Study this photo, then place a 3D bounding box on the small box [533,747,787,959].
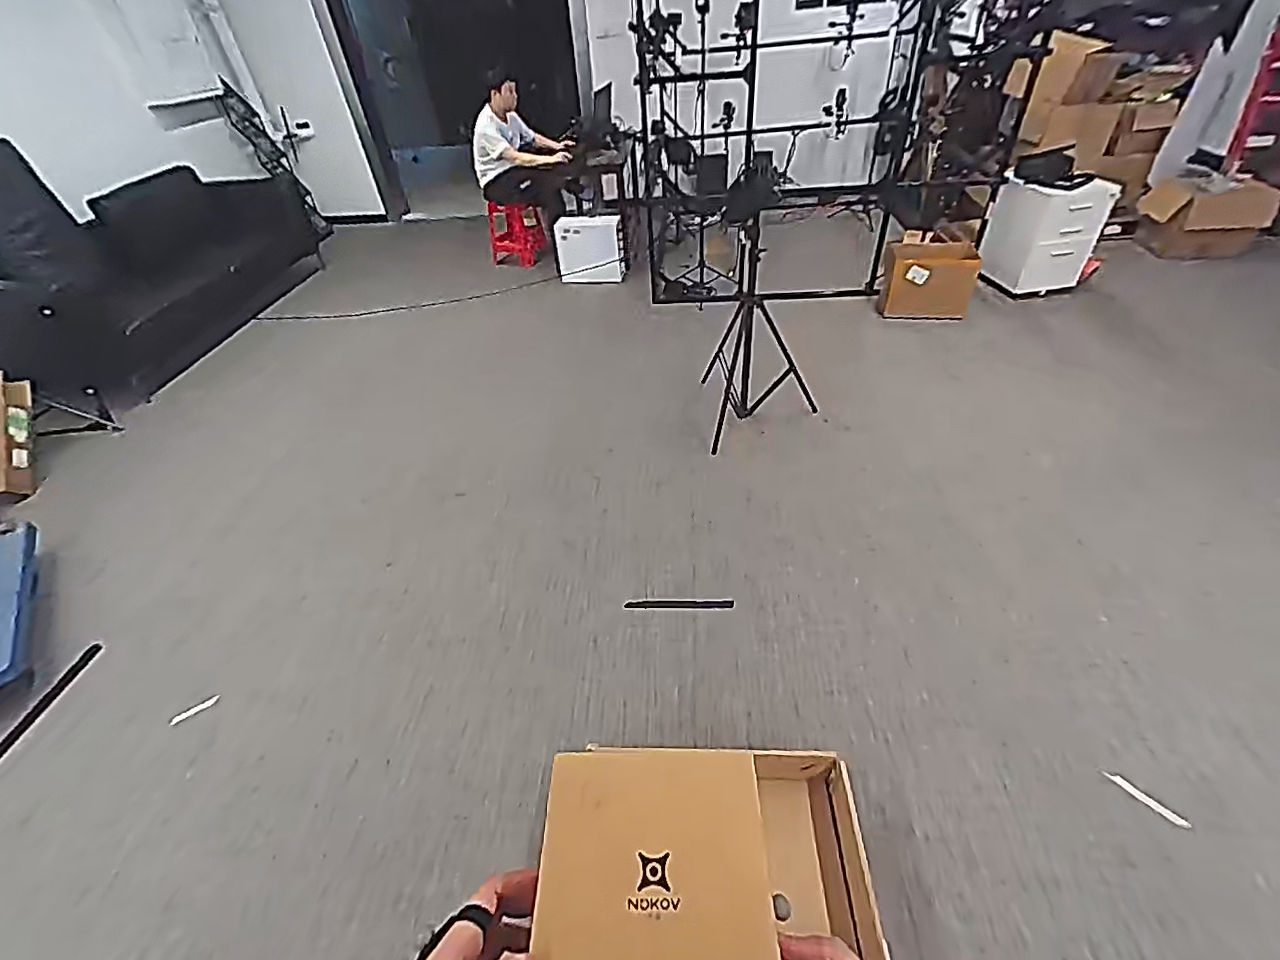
[{"bbox_3d":[0.017,0.338,0.431,0.168,0.176,0.179,-3,41,3],"label":"small box"}]
